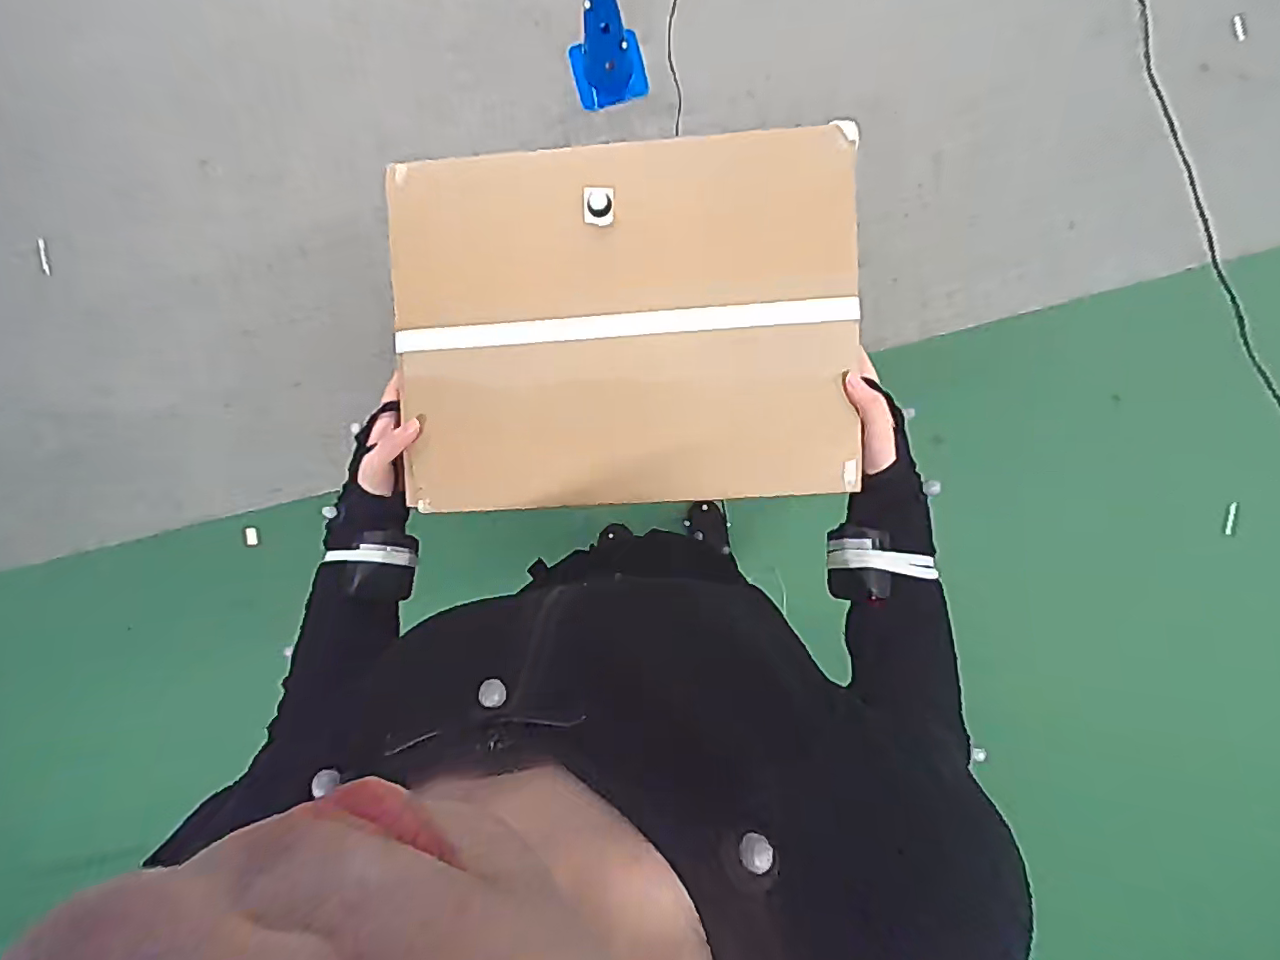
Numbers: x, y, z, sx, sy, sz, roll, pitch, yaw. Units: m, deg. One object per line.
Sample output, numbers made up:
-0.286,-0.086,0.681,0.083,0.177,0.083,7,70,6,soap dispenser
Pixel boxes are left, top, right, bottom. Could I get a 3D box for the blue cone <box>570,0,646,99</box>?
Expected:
-0.098,-1.177,1.351,0.193,0.380,0.192,-17,88,3,blue cone
